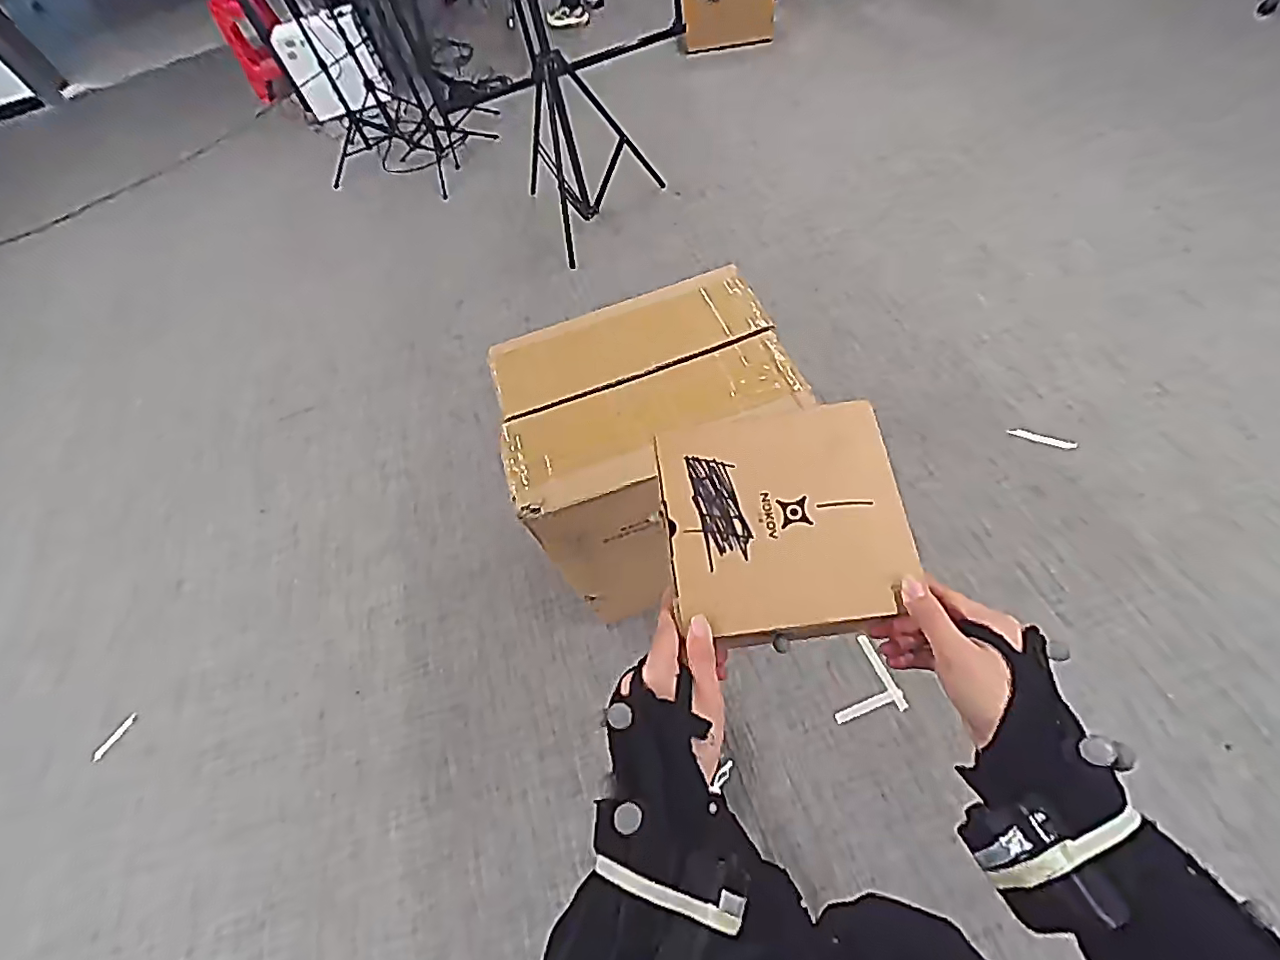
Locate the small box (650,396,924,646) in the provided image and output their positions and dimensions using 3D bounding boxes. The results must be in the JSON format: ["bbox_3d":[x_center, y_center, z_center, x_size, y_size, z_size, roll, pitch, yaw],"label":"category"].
[{"bbox_3d":[0.109,0.048,0.477,0.179,0.176,0.168,-8,69,1],"label":"small box"}]
